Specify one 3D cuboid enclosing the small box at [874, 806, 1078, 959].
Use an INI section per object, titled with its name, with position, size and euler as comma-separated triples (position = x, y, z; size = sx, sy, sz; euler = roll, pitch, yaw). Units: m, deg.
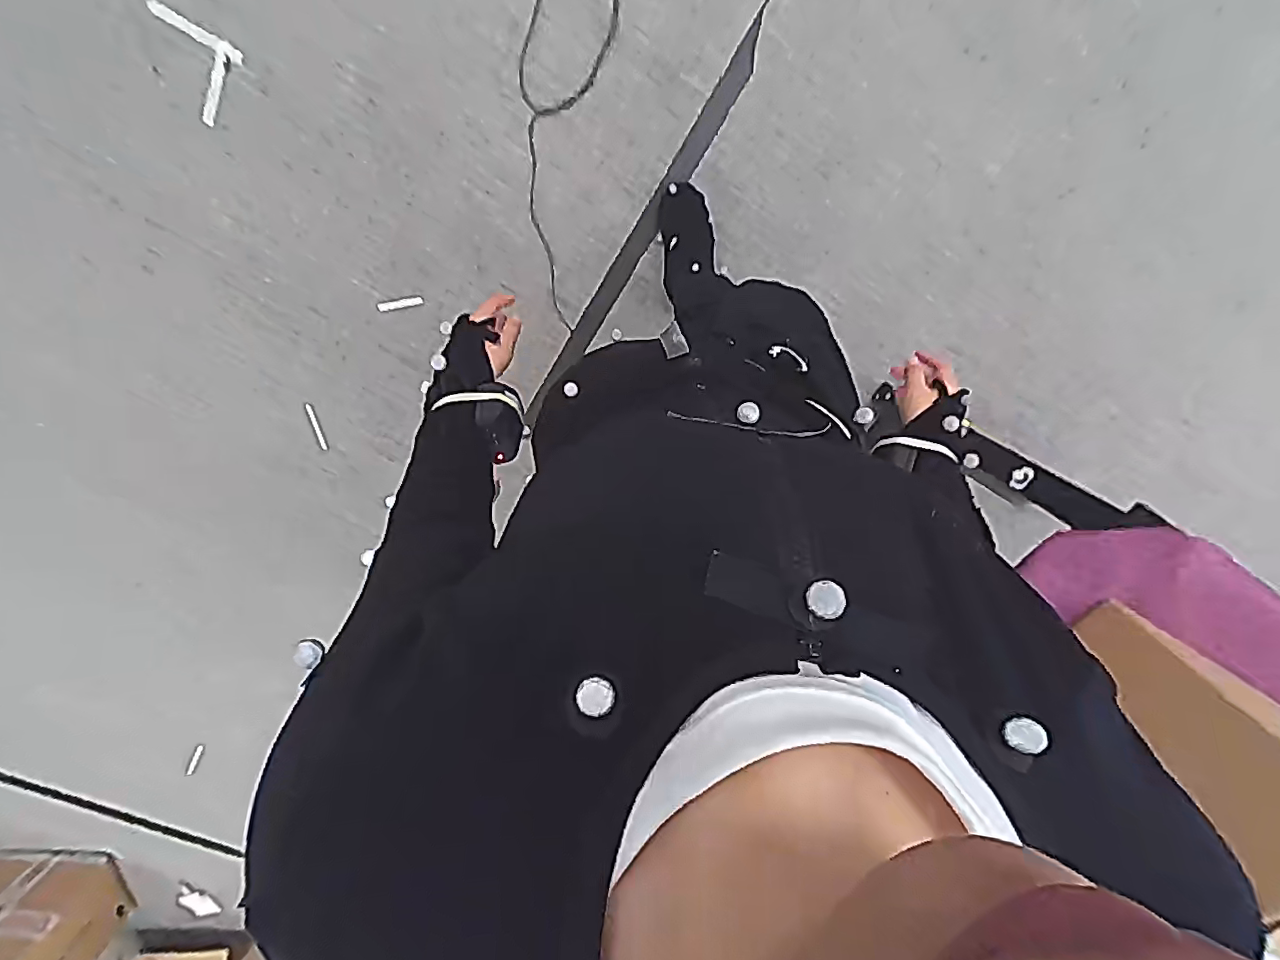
[small box]
position = 0.486, 0.643, 0.821
size = 0.168, 0.176, 0.179
euler = 28, 112, -13
